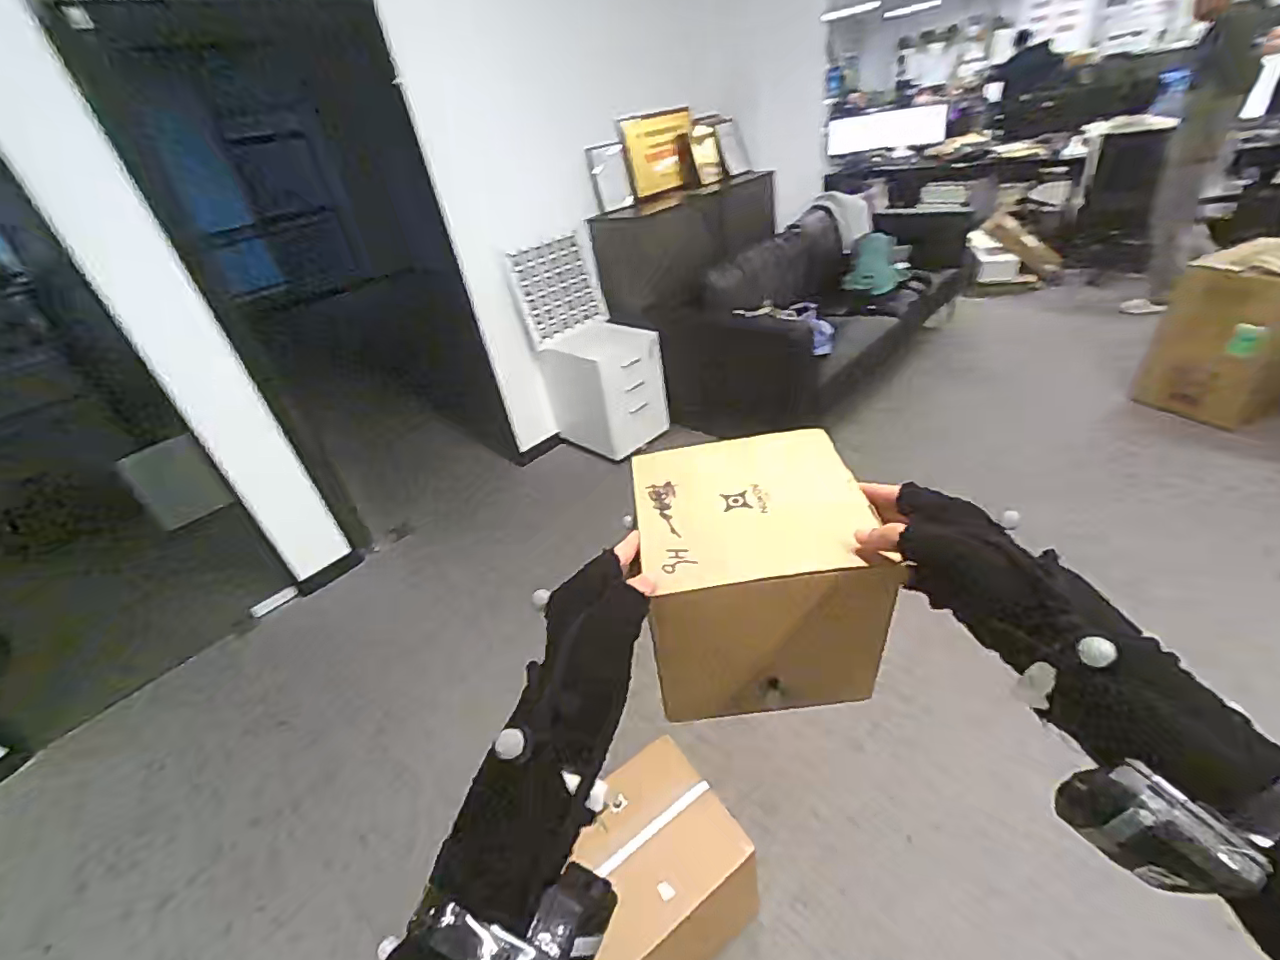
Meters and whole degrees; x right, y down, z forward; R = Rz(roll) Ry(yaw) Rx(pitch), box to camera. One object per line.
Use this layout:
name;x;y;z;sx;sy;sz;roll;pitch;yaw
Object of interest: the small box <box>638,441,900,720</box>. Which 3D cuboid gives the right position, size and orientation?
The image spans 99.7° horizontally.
small box;0.094;0.086;0.474;0.179;0.176;0.168;-6;36;1
